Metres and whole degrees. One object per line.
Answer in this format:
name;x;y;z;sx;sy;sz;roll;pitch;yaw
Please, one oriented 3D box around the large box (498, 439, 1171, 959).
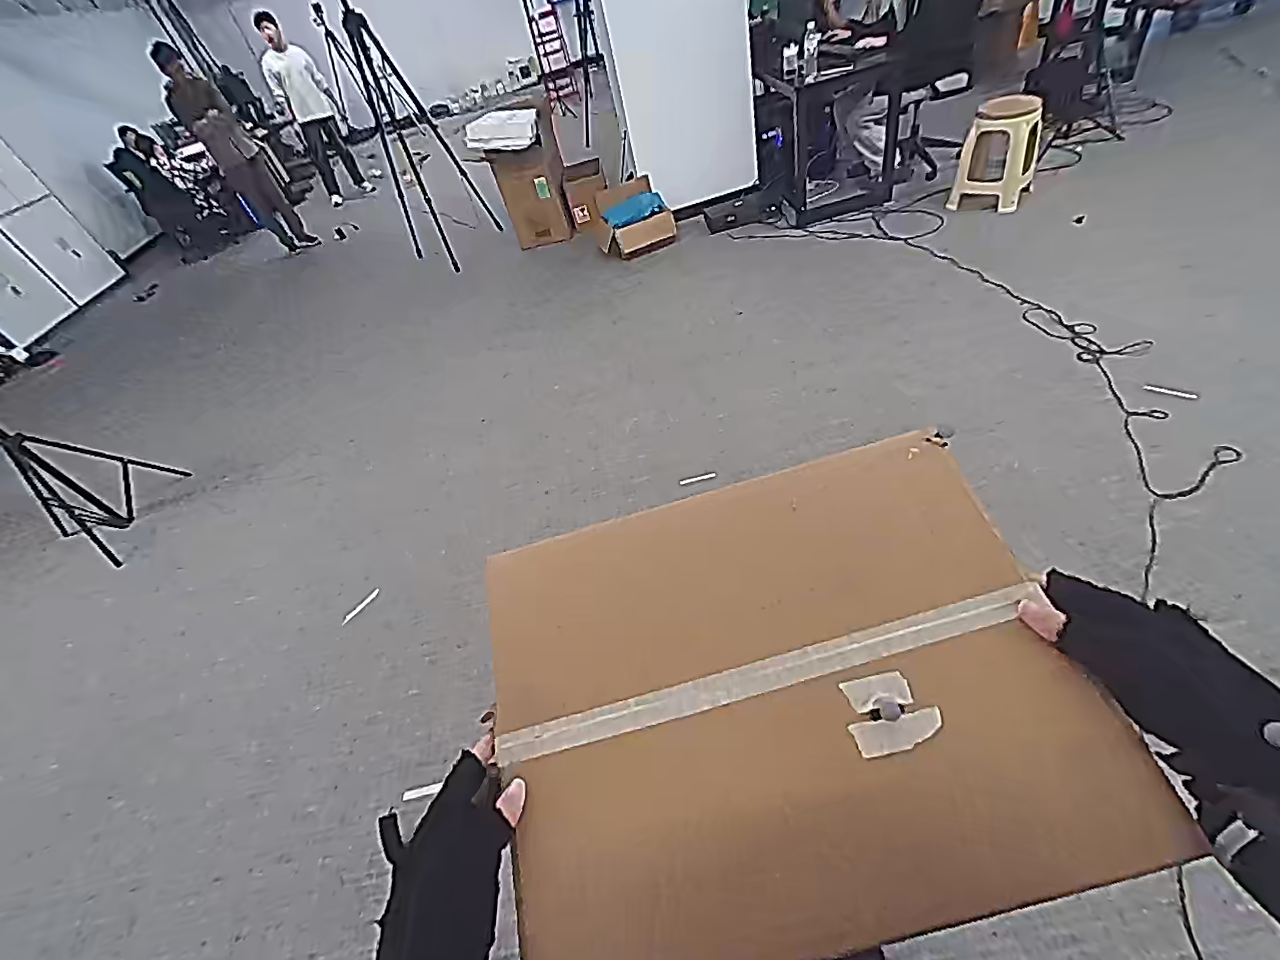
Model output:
large box;0.121;0.220;0.531;0.408;0.320;0.320;-17;59;1
